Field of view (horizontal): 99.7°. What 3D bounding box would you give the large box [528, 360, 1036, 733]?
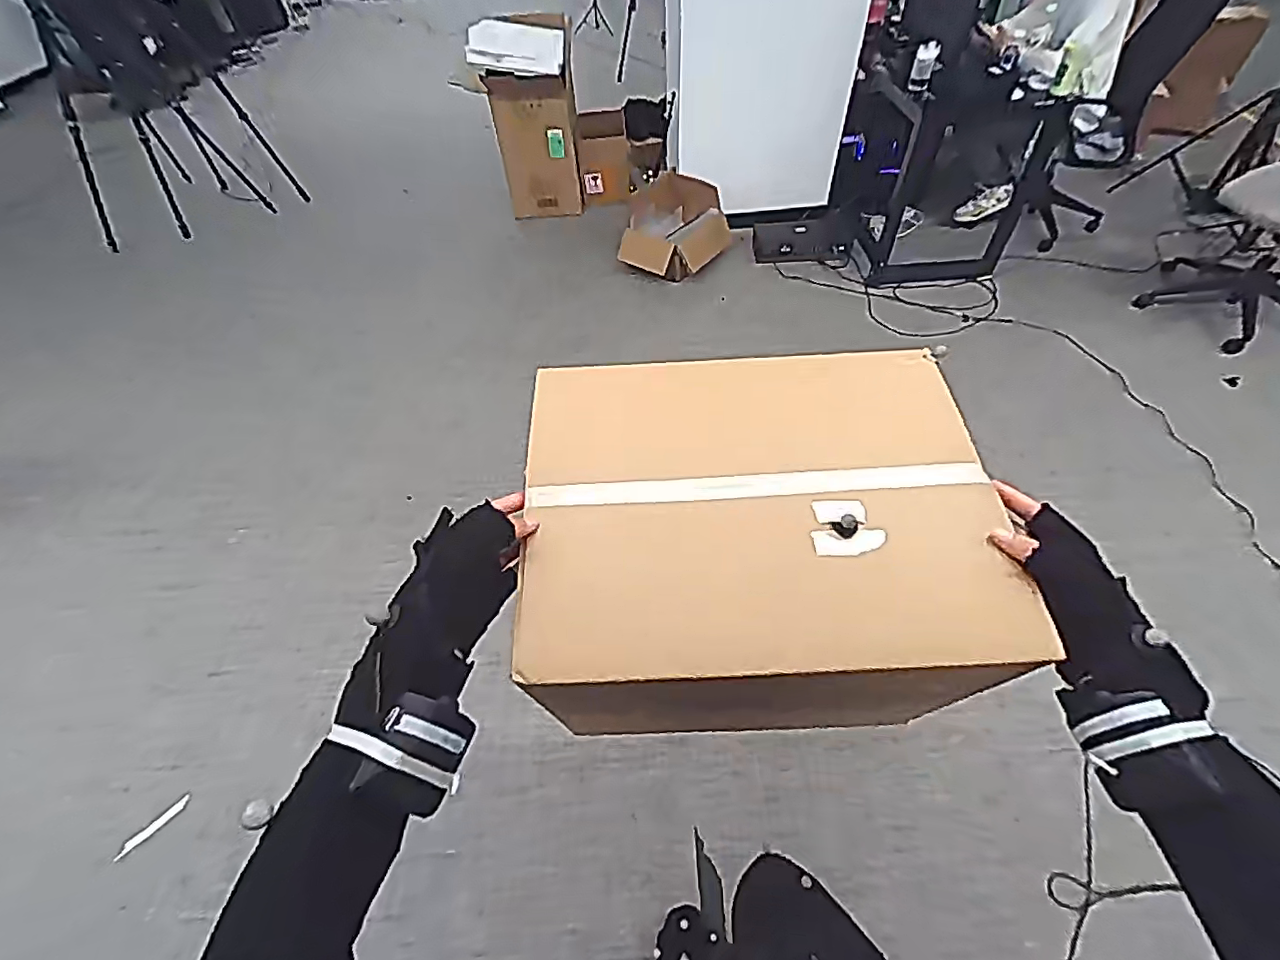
[{"bbox_3d":[0.106,0.091,0.619,0.408,0.320,0.320,-3,58,1],"label":"large box"}]
